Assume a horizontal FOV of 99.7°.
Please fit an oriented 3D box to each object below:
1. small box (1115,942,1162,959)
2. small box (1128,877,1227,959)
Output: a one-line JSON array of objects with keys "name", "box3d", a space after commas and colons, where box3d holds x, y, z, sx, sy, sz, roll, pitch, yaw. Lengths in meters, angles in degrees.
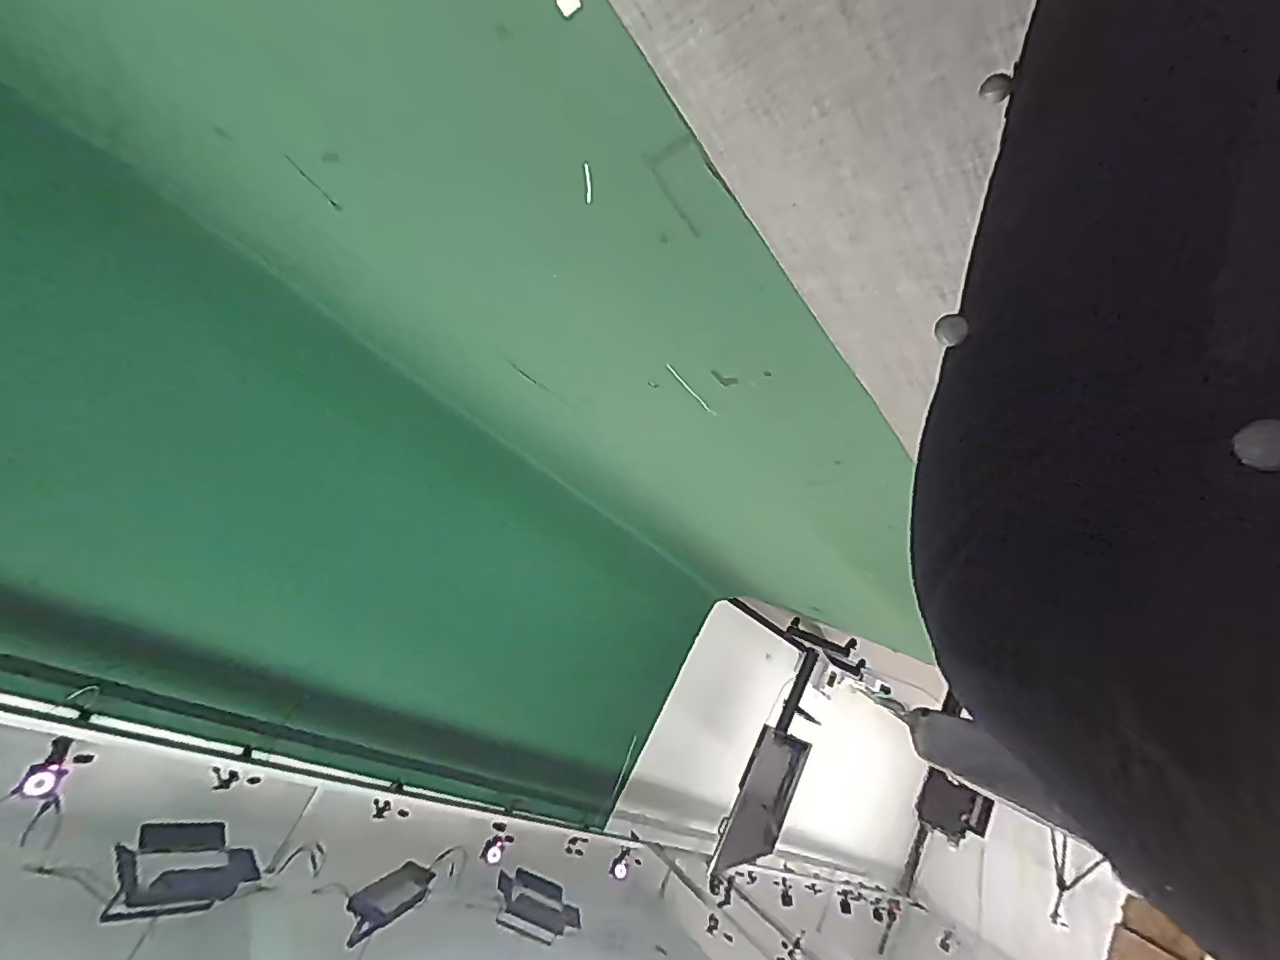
[{"name": "small box", "box3d": [1.384, 1.375, 1.438, 0.168, 0.176, 0.179, 36, 165, -29]}, {"name": "small box", "box3d": [1.481, 1.234, 1.491, 0.179, 0.176, 0.168, 38, 164, -35]}]
